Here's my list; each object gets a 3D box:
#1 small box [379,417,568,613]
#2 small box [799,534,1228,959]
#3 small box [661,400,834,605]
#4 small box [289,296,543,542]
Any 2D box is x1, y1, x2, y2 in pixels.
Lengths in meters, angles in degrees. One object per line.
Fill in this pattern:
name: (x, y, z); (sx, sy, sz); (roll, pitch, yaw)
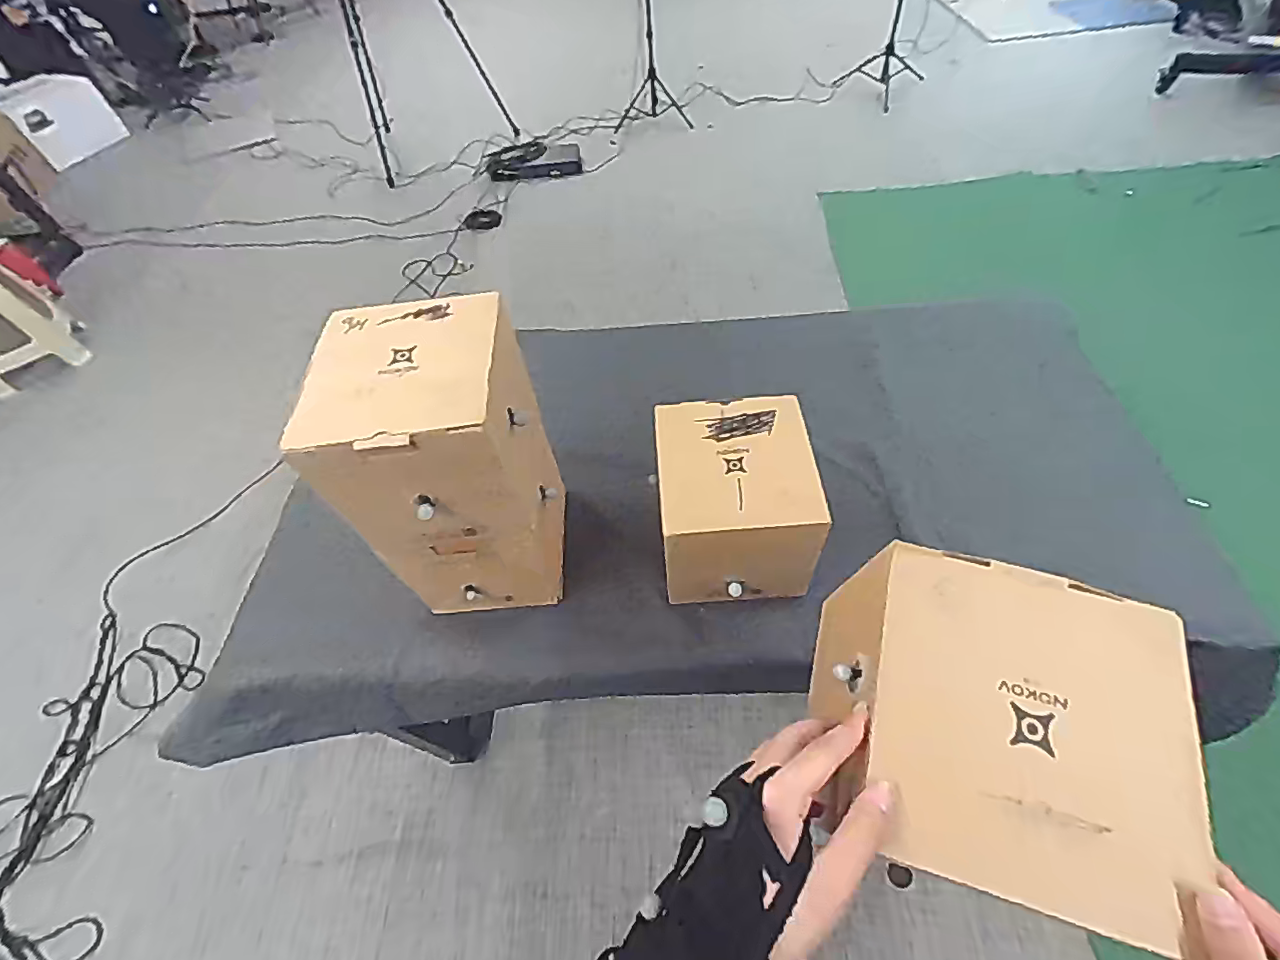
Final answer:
small box: (-0.186, 0.046, 0.666); (0.168, 0.176, 0.179); (-5, 53, 2)
small box: (0.215, 0.163, 0.365); (0.168, 0.176, 0.179); (14, 64, 10)
small box: (0.112, 0.030, 0.640); (0.168, 0.176, 0.179); (-5, 52, 3)
small box: (-0.195, -0.050, 0.533); (0.168, 0.176, 0.179); (-6, 54, 1)
